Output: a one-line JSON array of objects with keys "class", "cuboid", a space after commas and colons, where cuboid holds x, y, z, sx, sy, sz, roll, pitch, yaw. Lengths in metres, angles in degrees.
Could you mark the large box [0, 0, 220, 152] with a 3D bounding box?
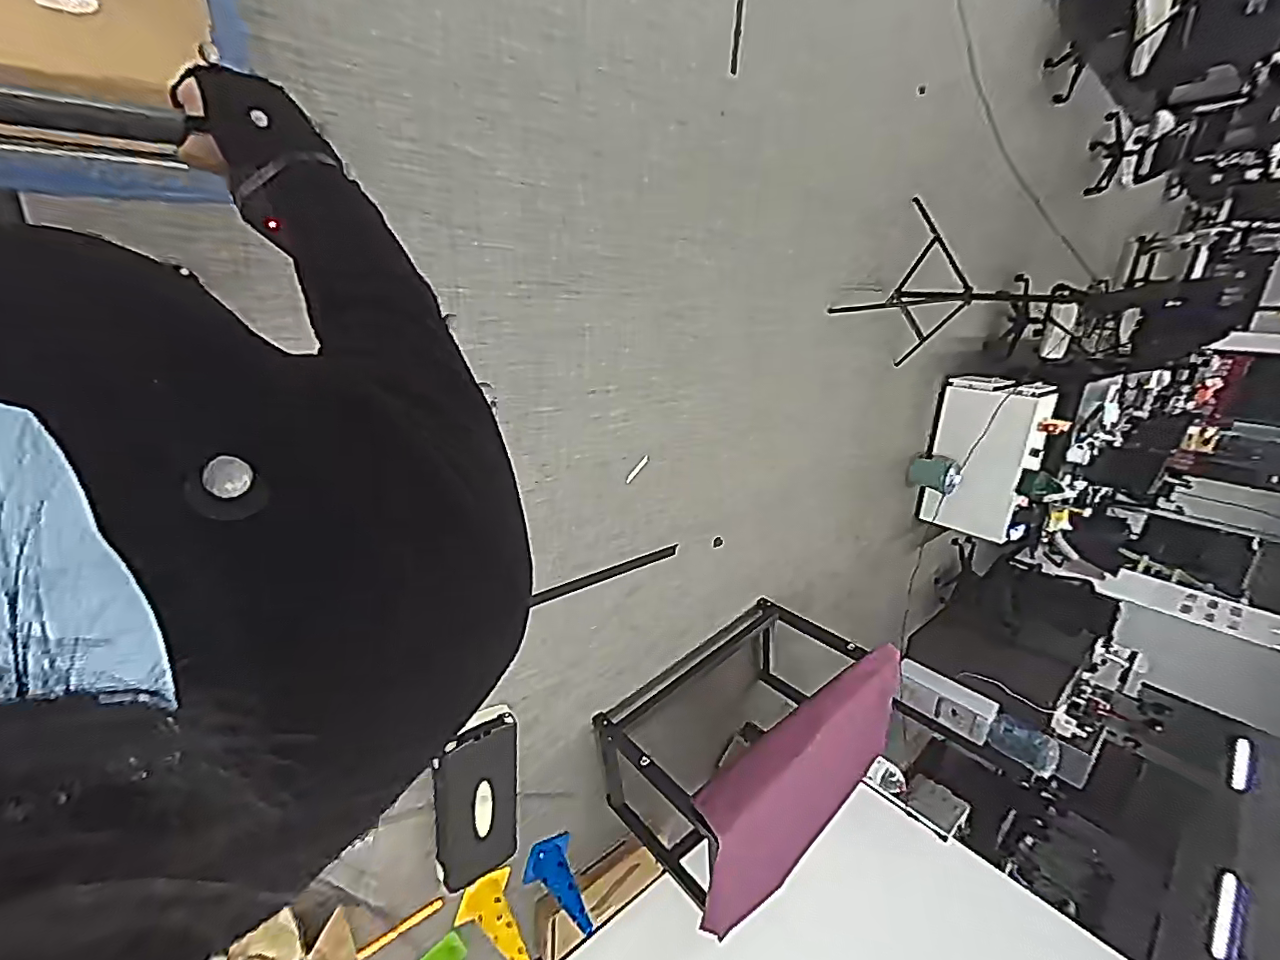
[{"class": "large box", "cuboid": [-0.839, -0.646, 0.691, 0.408, 0.320, 0.320, -17, 116, -39]}]
